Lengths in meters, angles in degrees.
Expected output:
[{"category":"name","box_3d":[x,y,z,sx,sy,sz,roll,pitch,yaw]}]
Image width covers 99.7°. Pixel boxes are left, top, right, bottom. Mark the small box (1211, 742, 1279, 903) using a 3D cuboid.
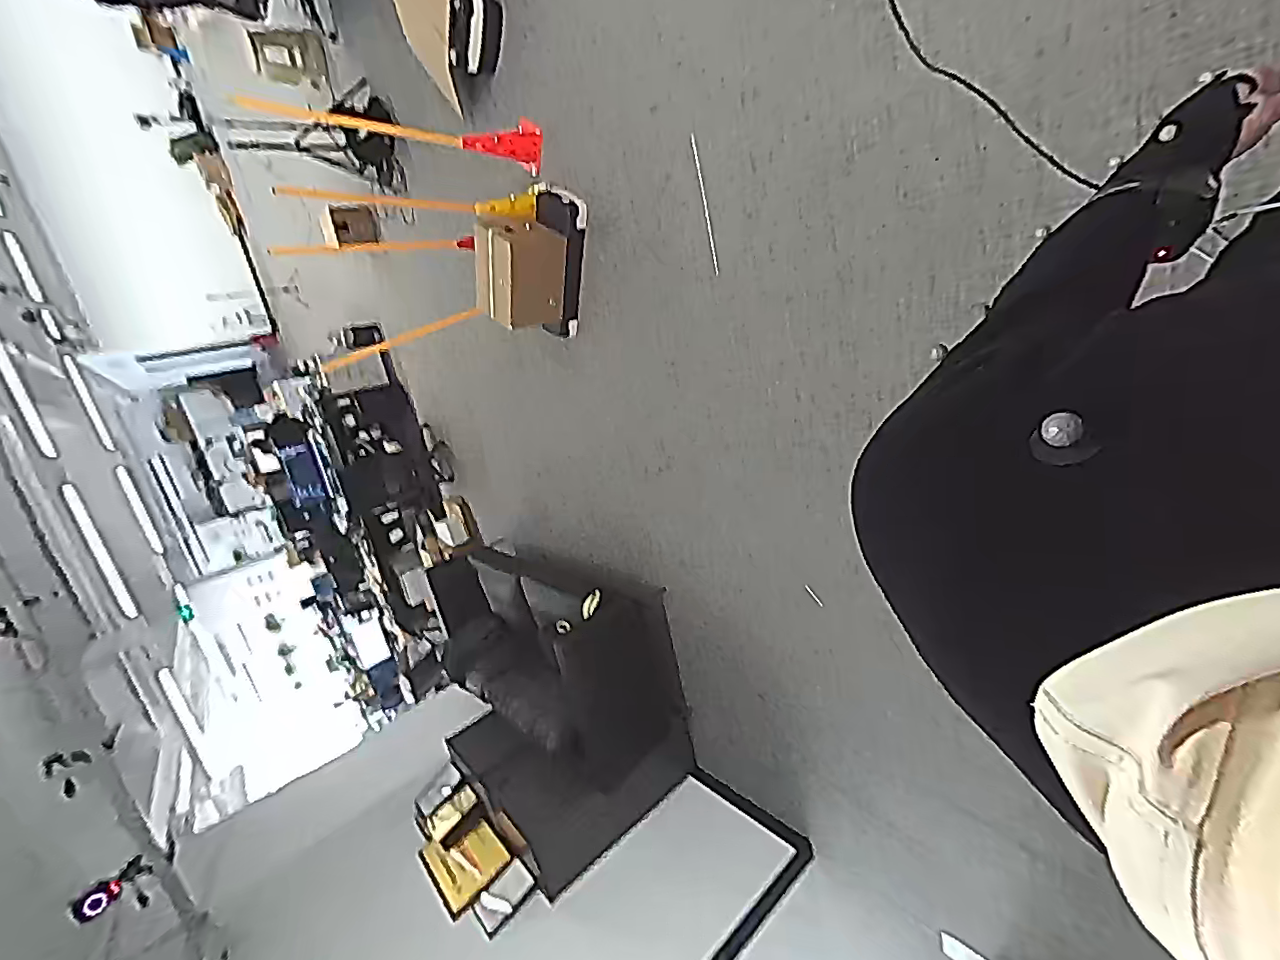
[{"category":"small box","box_3d":[1.093,0.585,0.899,0.168,0.176,0.179,10,115,51]}]
